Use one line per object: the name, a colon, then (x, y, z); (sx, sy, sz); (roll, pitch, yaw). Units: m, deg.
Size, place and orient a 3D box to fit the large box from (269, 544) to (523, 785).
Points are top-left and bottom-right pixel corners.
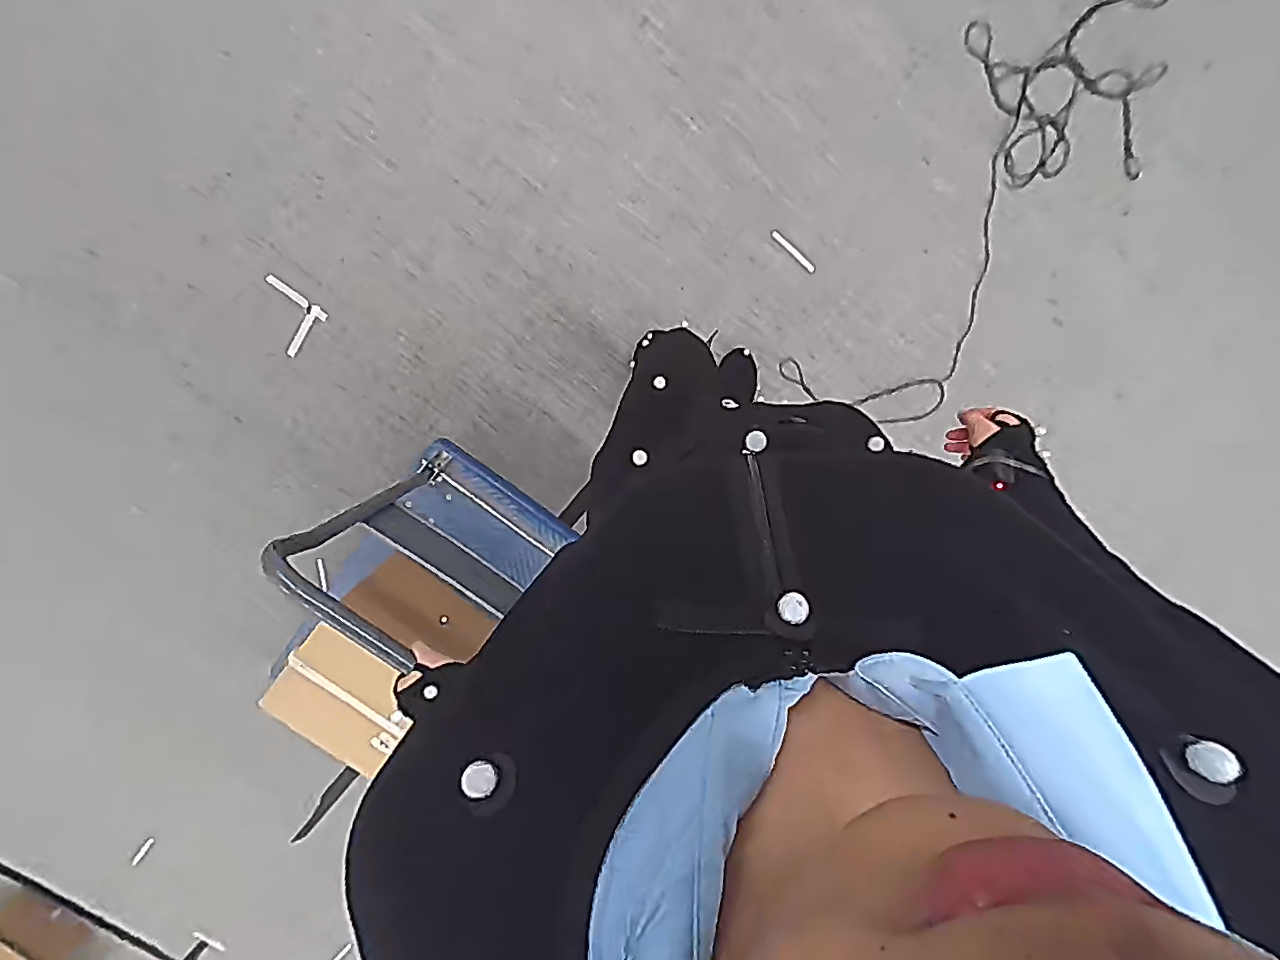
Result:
large box: (-0.561, 0.429, 1.317); (0.408, 0.320, 0.320); (39, 103, -10)
